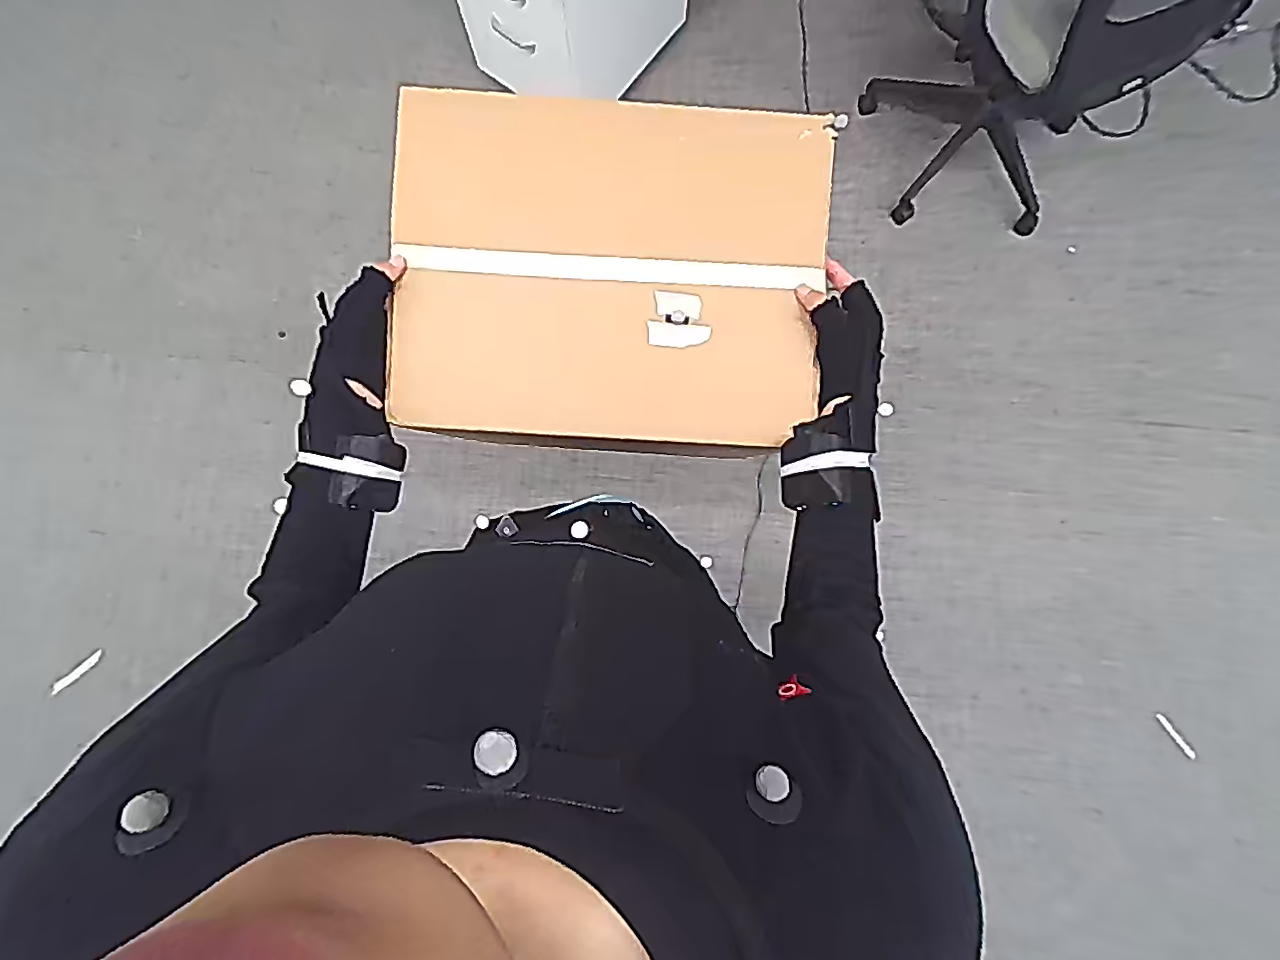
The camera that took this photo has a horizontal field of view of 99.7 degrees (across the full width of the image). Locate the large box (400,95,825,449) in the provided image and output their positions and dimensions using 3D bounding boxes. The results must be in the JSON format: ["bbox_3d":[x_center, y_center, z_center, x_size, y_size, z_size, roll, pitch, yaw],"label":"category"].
[{"bbox_3d":[-0.031,-0.206,0.668,0.408,0.320,0.320,4,92,-2],"label":"large box"}]
